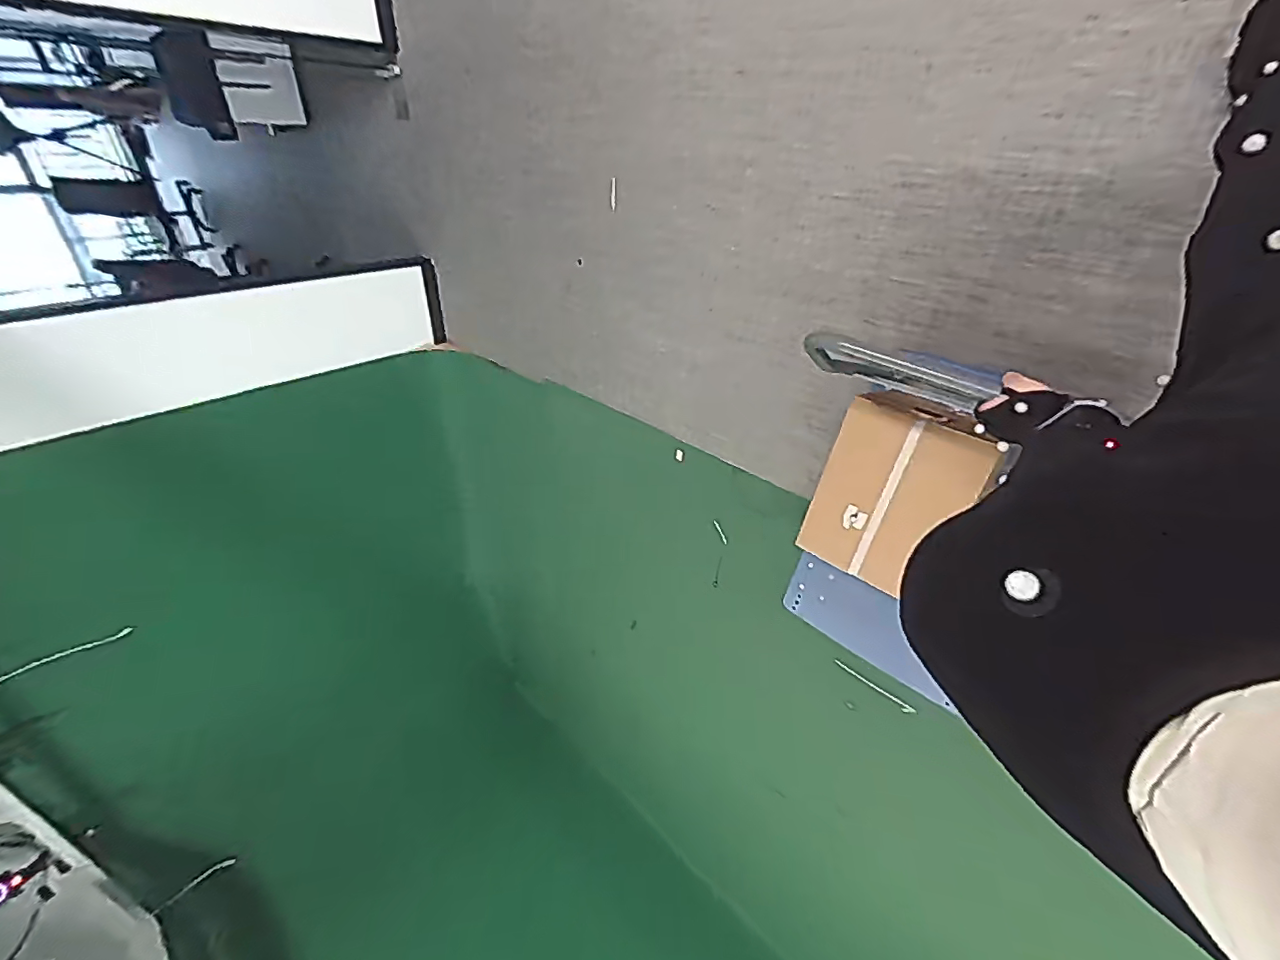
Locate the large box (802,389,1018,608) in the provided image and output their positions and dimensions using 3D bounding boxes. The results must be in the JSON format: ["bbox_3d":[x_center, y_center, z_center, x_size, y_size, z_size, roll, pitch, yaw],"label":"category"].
[{"bbox_3d":[0.651,0.020,1.314,0.320,0.320,0.408,30,118,32],"label":"large box"}]
